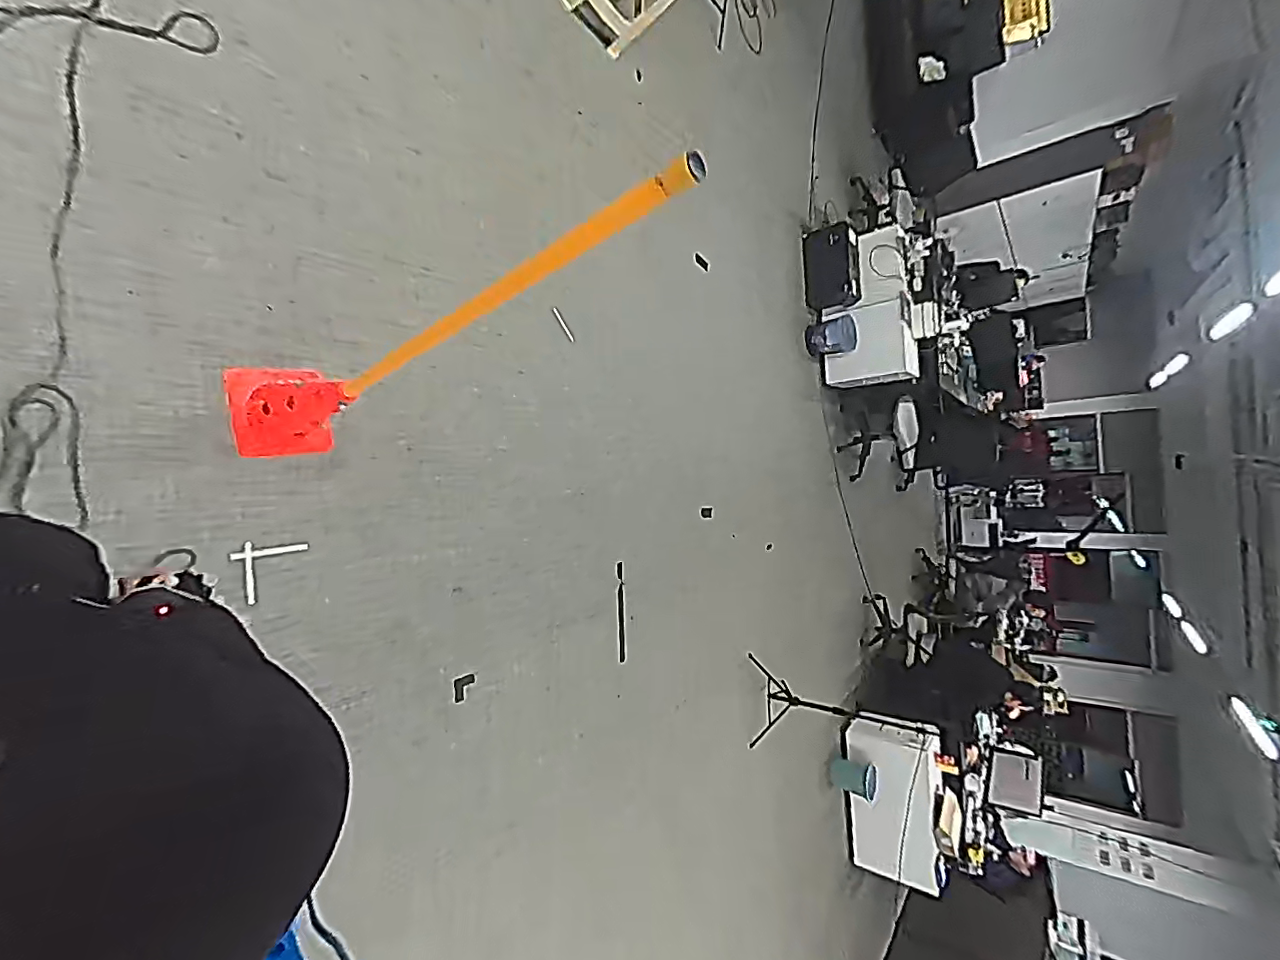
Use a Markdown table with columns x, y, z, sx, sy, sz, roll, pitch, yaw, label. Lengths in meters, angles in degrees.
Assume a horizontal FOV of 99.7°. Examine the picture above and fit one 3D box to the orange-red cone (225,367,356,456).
| x | y | z | sx | sy | sz | roll | pitch | yaw | label |
| --- | --- | --- | --- | --- | --- | --- | --- | --- | --- |
| -0.694 | -0.167 | 1.135 | 0.199 | 0.360 | 0.198 | -10 | 95 | -50 | orange-red cone |
